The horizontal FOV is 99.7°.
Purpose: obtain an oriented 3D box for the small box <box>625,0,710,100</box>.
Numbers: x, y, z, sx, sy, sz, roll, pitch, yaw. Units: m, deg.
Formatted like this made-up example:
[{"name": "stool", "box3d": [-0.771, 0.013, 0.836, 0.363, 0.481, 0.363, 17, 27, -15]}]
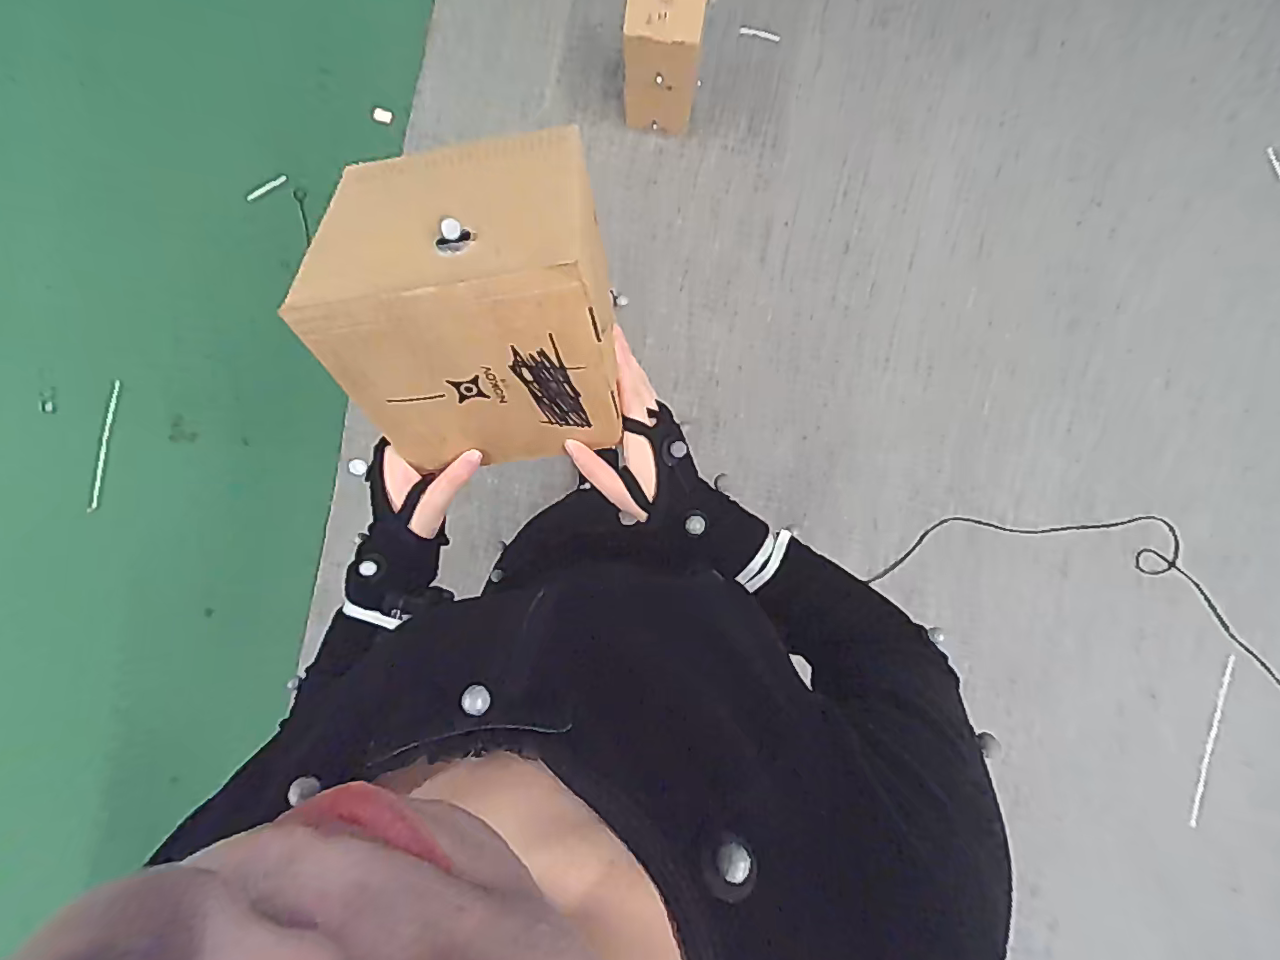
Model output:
[{"name": "small box", "box3d": [0.062, -1.005, 1.215, 0.168, 0.176, 0.179, 9, 93, 1]}]
